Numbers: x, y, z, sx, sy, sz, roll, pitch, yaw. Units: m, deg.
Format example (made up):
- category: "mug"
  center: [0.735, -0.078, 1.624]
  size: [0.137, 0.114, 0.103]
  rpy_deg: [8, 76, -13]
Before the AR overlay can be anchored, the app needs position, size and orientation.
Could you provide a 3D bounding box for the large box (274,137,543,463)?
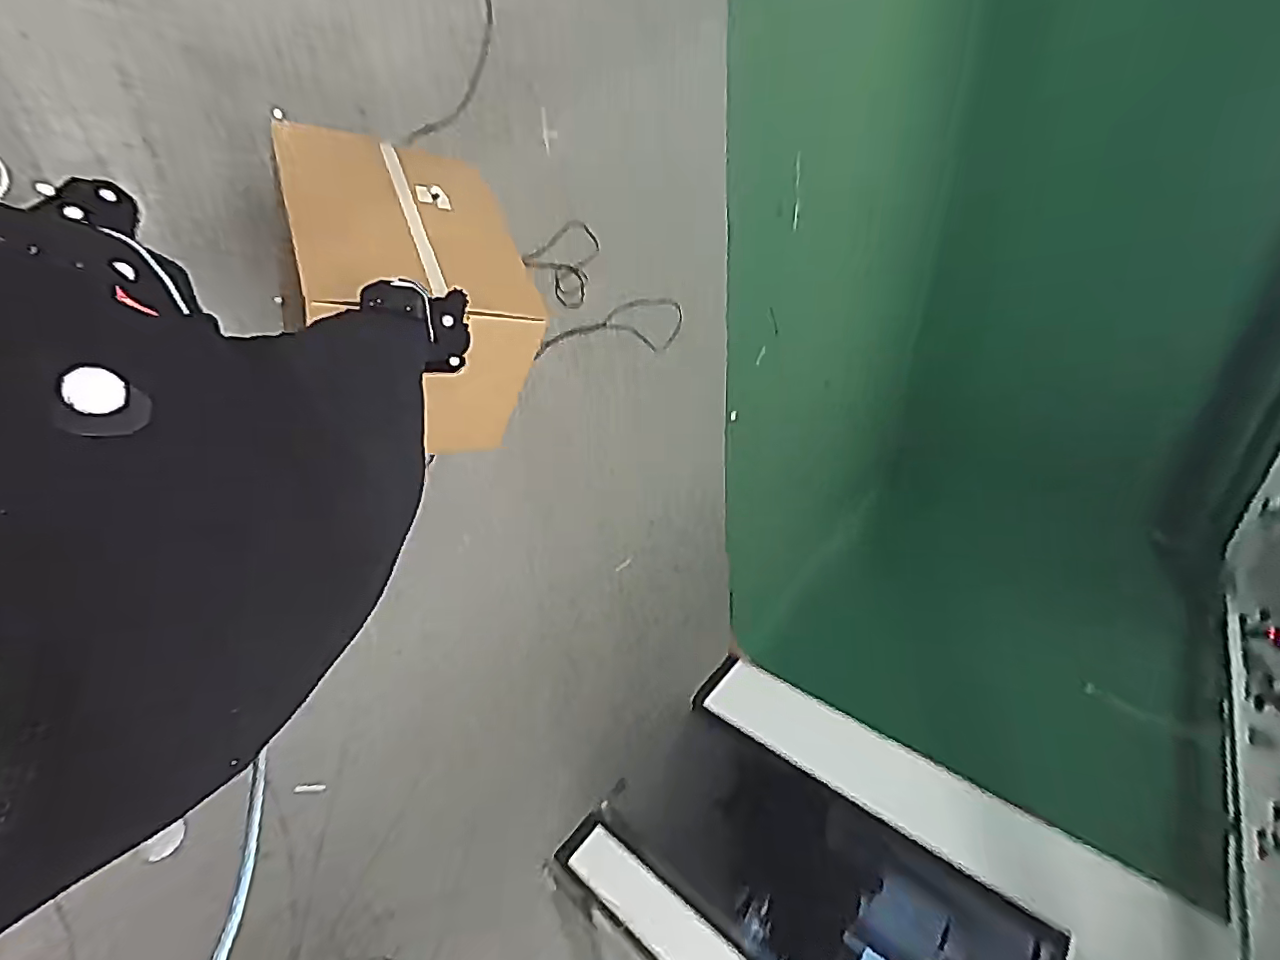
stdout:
- category: "large box"
  center: [-0.410, -0.282, 0.916]
  size: [0.320, 0.408, 0.320]
  rpy_deg: [-5, 147, -37]
